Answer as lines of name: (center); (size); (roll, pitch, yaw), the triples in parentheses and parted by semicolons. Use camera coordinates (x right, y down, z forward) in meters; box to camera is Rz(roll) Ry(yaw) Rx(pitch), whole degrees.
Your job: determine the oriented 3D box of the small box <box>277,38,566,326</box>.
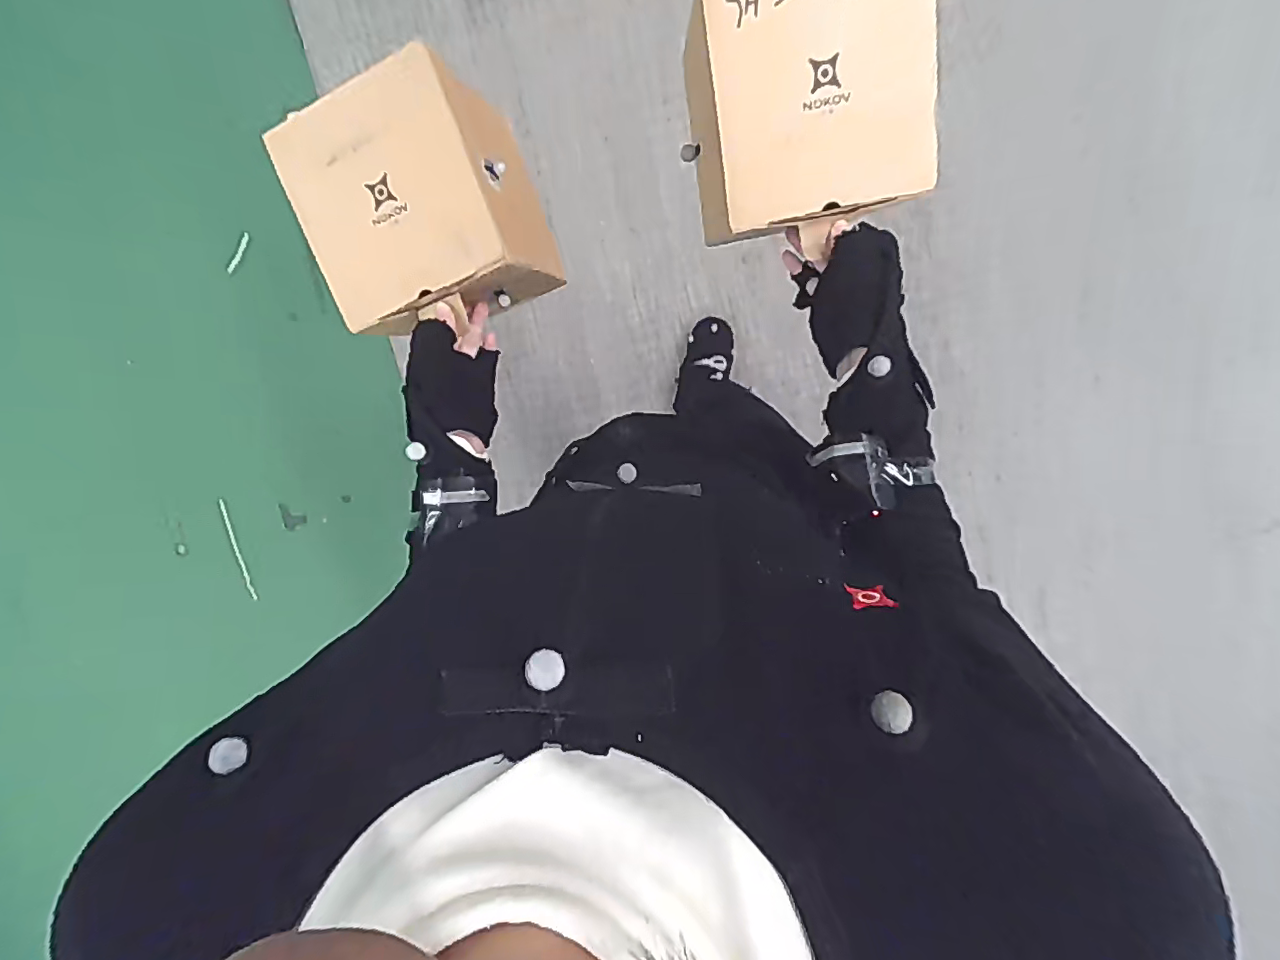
small box: (-0.195, -0.264, 0.535); (0.168, 0.176, 0.179); (-19, 98, 15)
